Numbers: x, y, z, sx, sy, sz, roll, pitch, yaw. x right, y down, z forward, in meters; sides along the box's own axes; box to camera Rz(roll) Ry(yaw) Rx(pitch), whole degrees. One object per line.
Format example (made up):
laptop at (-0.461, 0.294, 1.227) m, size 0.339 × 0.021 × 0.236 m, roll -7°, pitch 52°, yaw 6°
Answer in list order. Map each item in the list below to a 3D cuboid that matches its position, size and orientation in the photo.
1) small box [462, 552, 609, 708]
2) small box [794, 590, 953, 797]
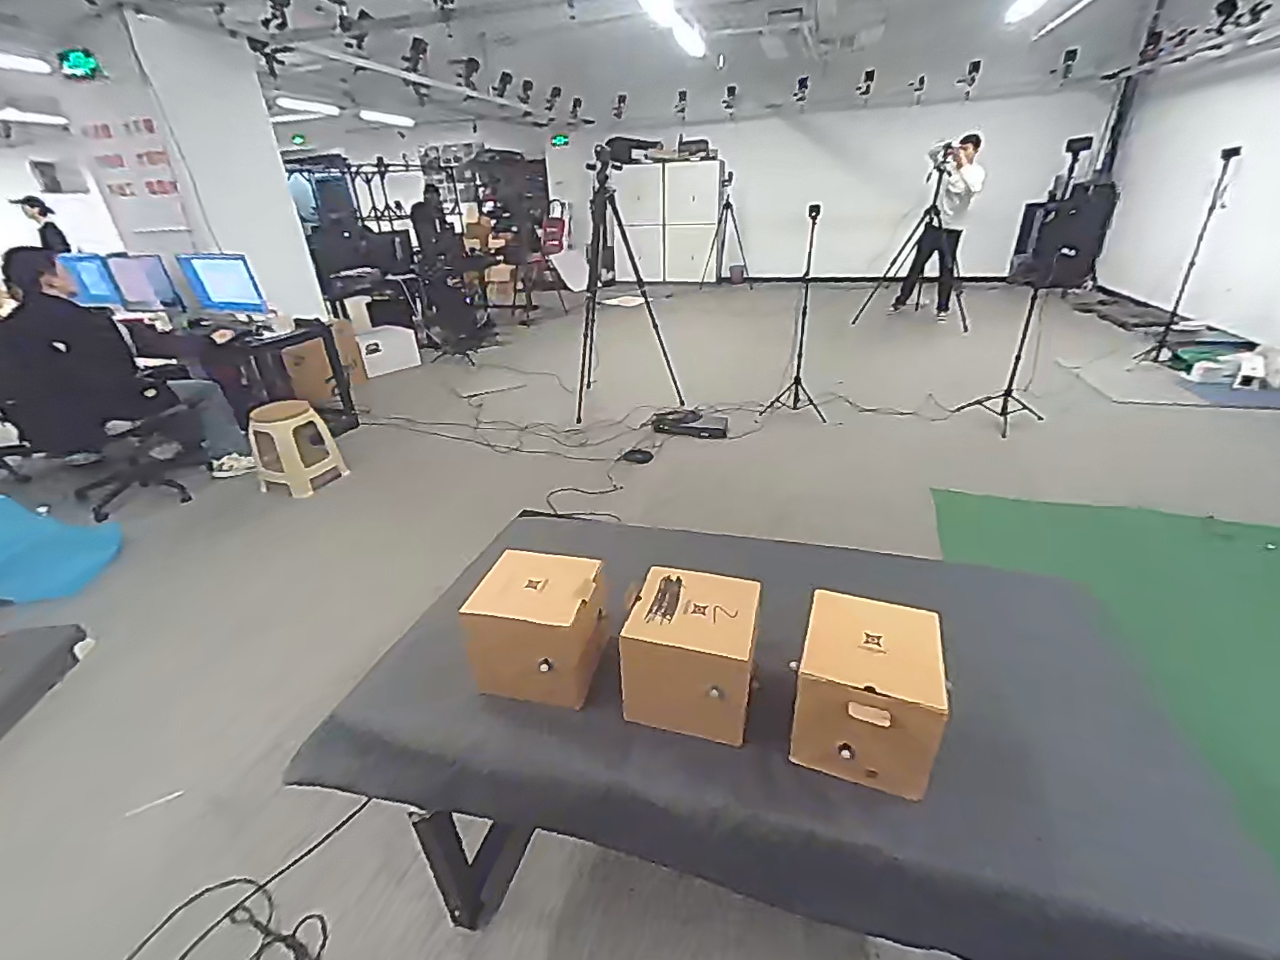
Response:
small box at (-0.154, 0.238, 0.870) m, size 0.179 × 0.176 × 0.168 m, roll 3°, pitch 27°, yaw 12°
small box at (0.311, 0.284, 0.741) m, size 0.168 × 0.176 × 0.179 m, roll 9°, pitch 30°, yaw 20°
